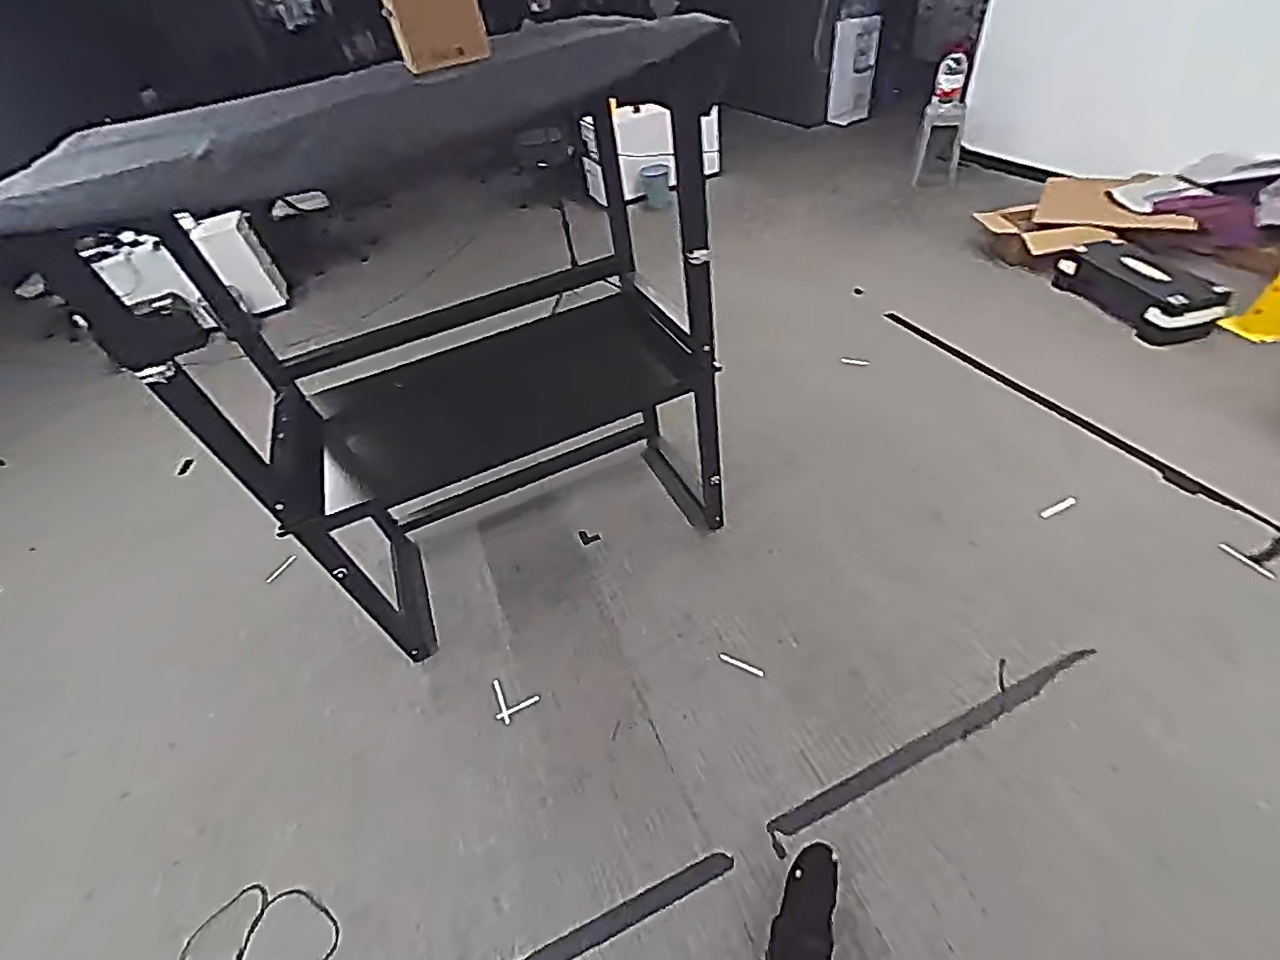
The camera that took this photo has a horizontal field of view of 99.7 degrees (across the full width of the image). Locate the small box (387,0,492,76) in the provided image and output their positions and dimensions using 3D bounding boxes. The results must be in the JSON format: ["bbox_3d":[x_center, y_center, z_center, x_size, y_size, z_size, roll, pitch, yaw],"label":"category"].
[{"bbox_3d":[-0.434,-0.982,1.151,0.168,0.176,0.179,-23,46,-11],"label":"small box"}]
